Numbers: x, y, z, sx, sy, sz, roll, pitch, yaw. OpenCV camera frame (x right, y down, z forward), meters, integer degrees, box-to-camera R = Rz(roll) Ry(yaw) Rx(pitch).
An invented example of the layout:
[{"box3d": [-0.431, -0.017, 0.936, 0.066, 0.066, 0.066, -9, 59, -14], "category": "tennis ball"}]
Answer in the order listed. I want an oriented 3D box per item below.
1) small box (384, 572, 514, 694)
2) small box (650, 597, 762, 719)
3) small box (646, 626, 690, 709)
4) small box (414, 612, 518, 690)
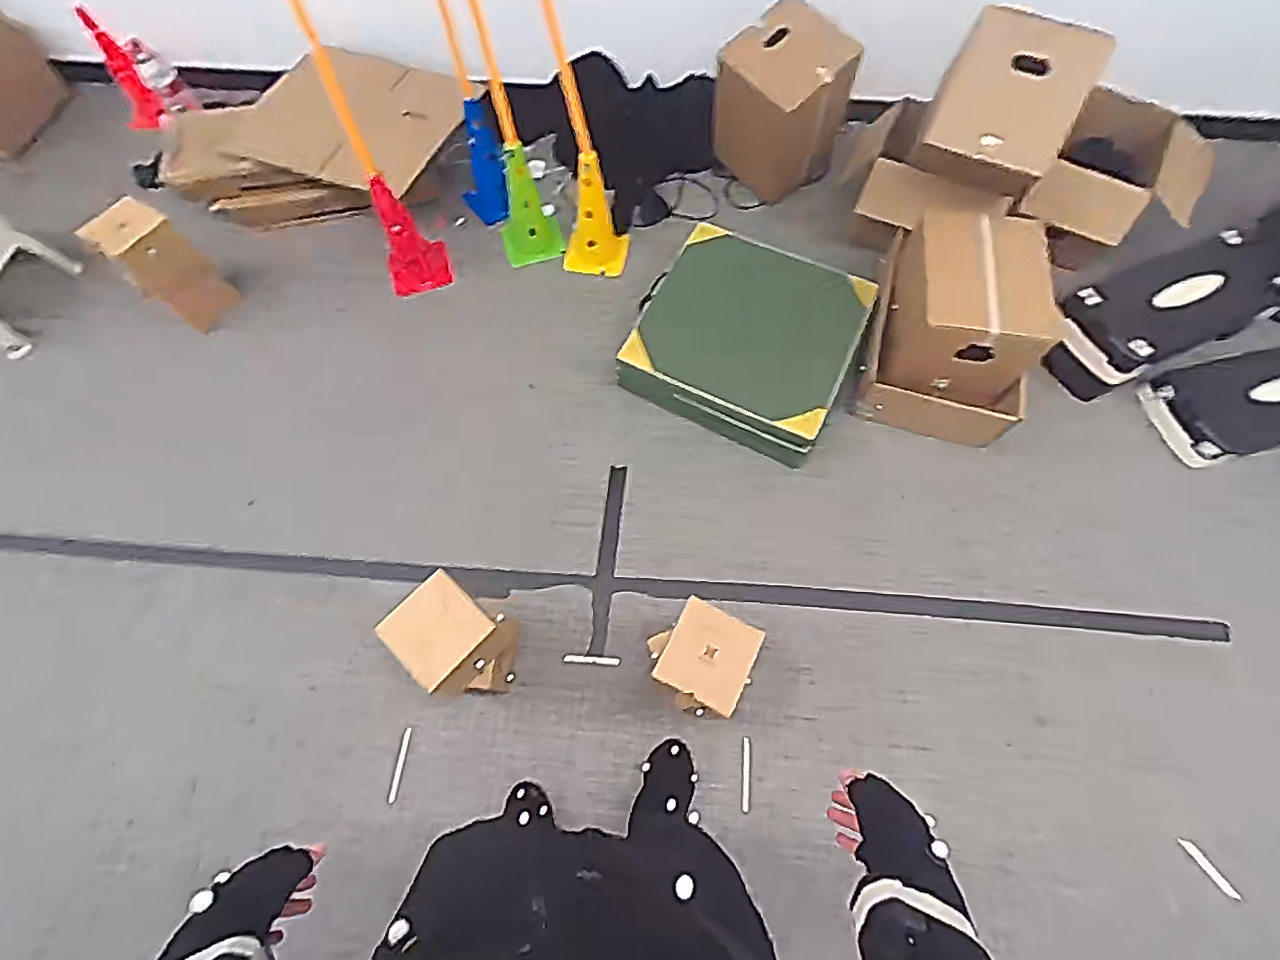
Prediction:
[{"box3d": [-0.399, 0.323, 1.136, 0.179, 0.176, 0.168, 40, 72, 16], "category": "small box"}, {"box3d": [0.130, 0.372, 1.123, 0.168, 0.176, 0.179, 27, 69, 9], "category": "small box"}, {"box3d": [0.125, 0.426, 1.278, 0.179, 0.176, 0.168, -23, 70, -10], "category": "small box"}, {"box3d": [-0.401, 0.401, 1.284, 0.179, 0.176, 0.168, 7, 66, 4], "category": "small box"}]
